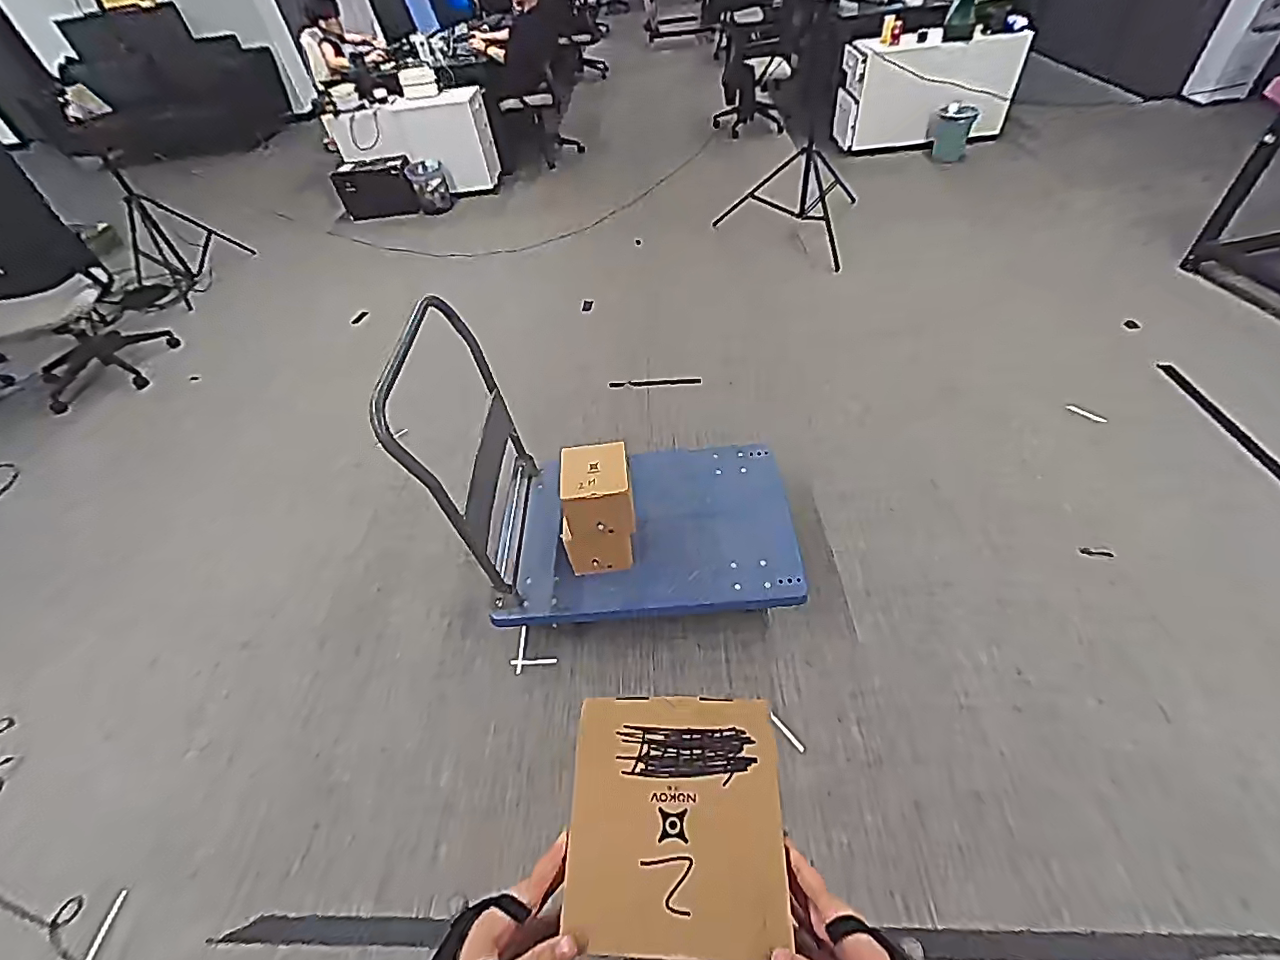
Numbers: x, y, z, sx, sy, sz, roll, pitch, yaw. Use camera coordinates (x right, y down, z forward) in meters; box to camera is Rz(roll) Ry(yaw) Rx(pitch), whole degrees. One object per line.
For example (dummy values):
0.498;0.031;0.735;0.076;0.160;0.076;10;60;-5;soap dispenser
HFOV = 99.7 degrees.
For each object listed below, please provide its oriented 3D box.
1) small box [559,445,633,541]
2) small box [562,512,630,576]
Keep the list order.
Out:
-0.110;0.034;1.394;0.168;0.176;0.179;-7;48;1;small box
-0.120;0.147;1.516;0.168;0.176;0.179;-7;48;1;small box
